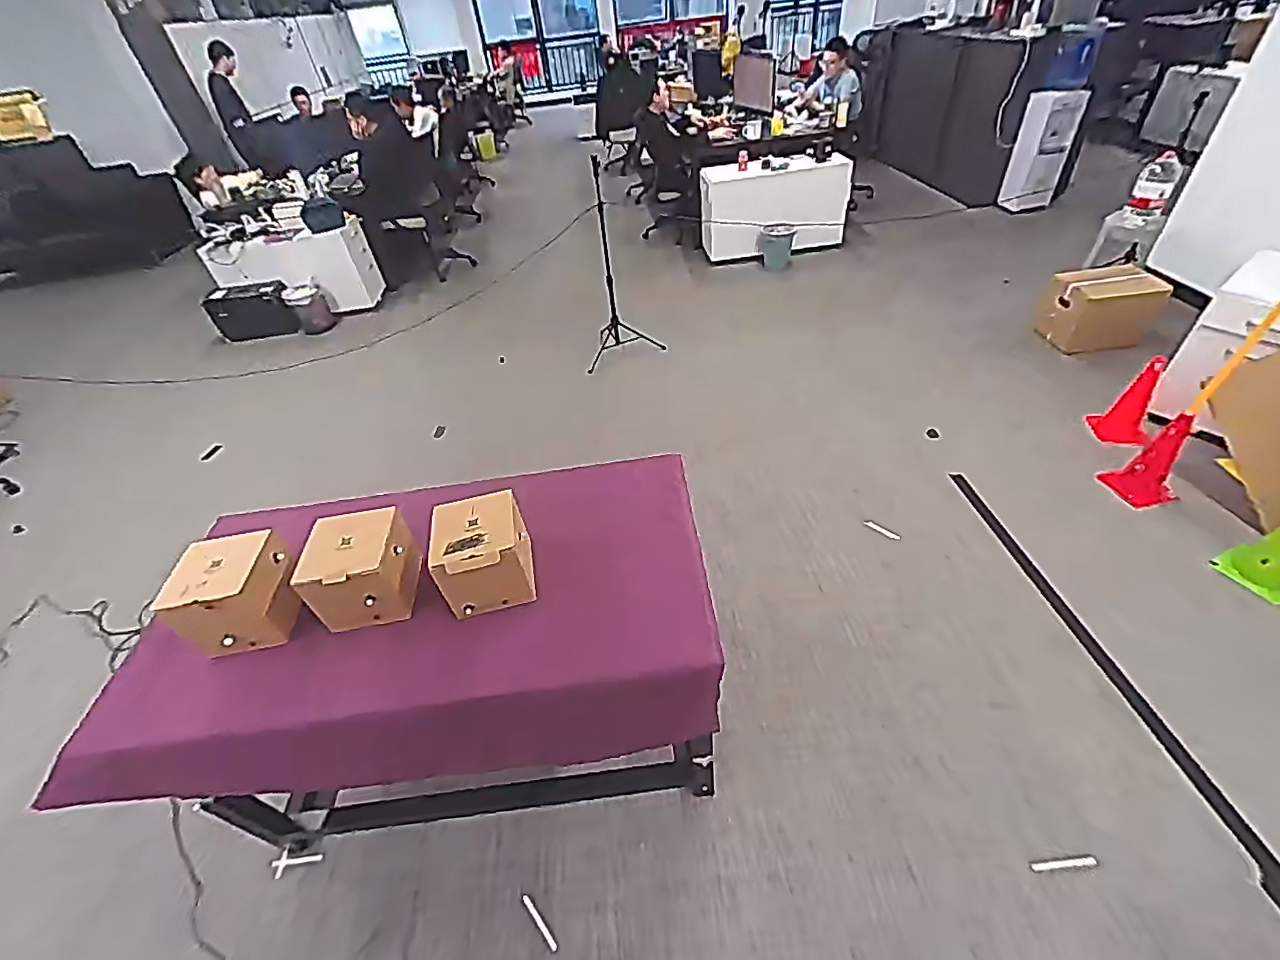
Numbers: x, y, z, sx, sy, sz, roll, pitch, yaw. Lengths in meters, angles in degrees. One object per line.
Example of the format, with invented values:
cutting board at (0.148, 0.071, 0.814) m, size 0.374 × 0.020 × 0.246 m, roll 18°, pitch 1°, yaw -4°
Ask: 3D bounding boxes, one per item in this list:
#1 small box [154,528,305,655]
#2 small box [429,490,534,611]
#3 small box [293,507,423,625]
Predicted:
small box at (-0.819, 0.229, 1.112) m, size 0.168 × 0.176 × 0.179 m, roll -11°, pitch 42°, yaw -2°
small box at (-0.322, 0.152, 1.123) m, size 0.168 × 0.176 × 0.179 m, roll -13°, pitch 41°, yaw -6°
small box at (-0.573, 0.184, 1.127) m, size 0.168 × 0.176 × 0.179 m, roll -9°, pitch 41°, yaw -2°
